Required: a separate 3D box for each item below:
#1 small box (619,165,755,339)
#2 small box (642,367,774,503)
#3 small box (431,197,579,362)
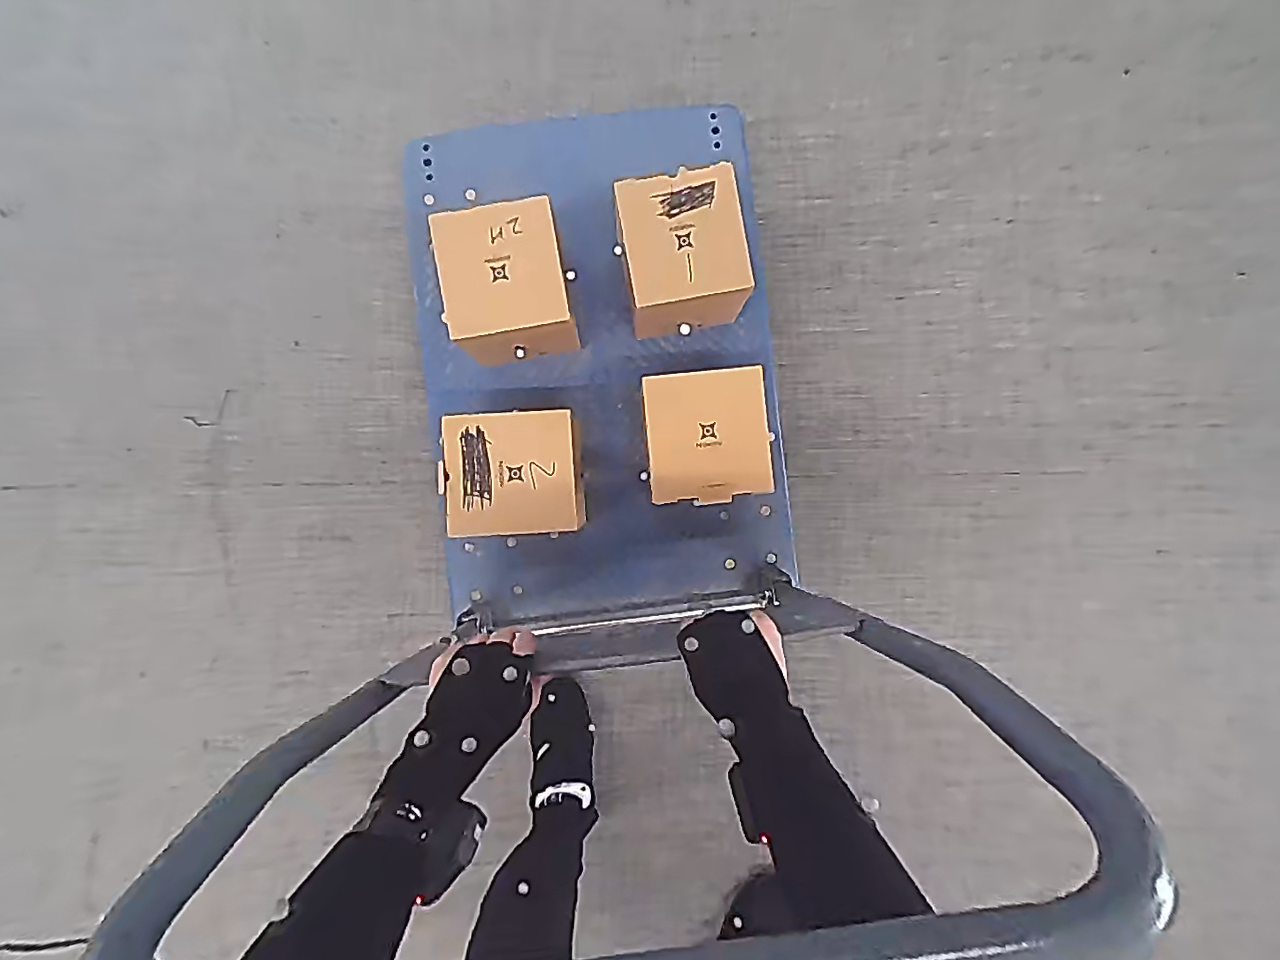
[{"bbox_3d":[0.061,-0.328,0.808,0.168,0.176,0.179,-10,91,0],"label":"small box"},{"bbox_3d":[0.092,-0.060,0.807,0.168,0.176,0.179,-5,90,-1],"label":"small box"},{"bbox_3d":[-0.188,-0.283,0.805,0.168,0.176,0.179,-10,89,-2],"label":"small box"}]
